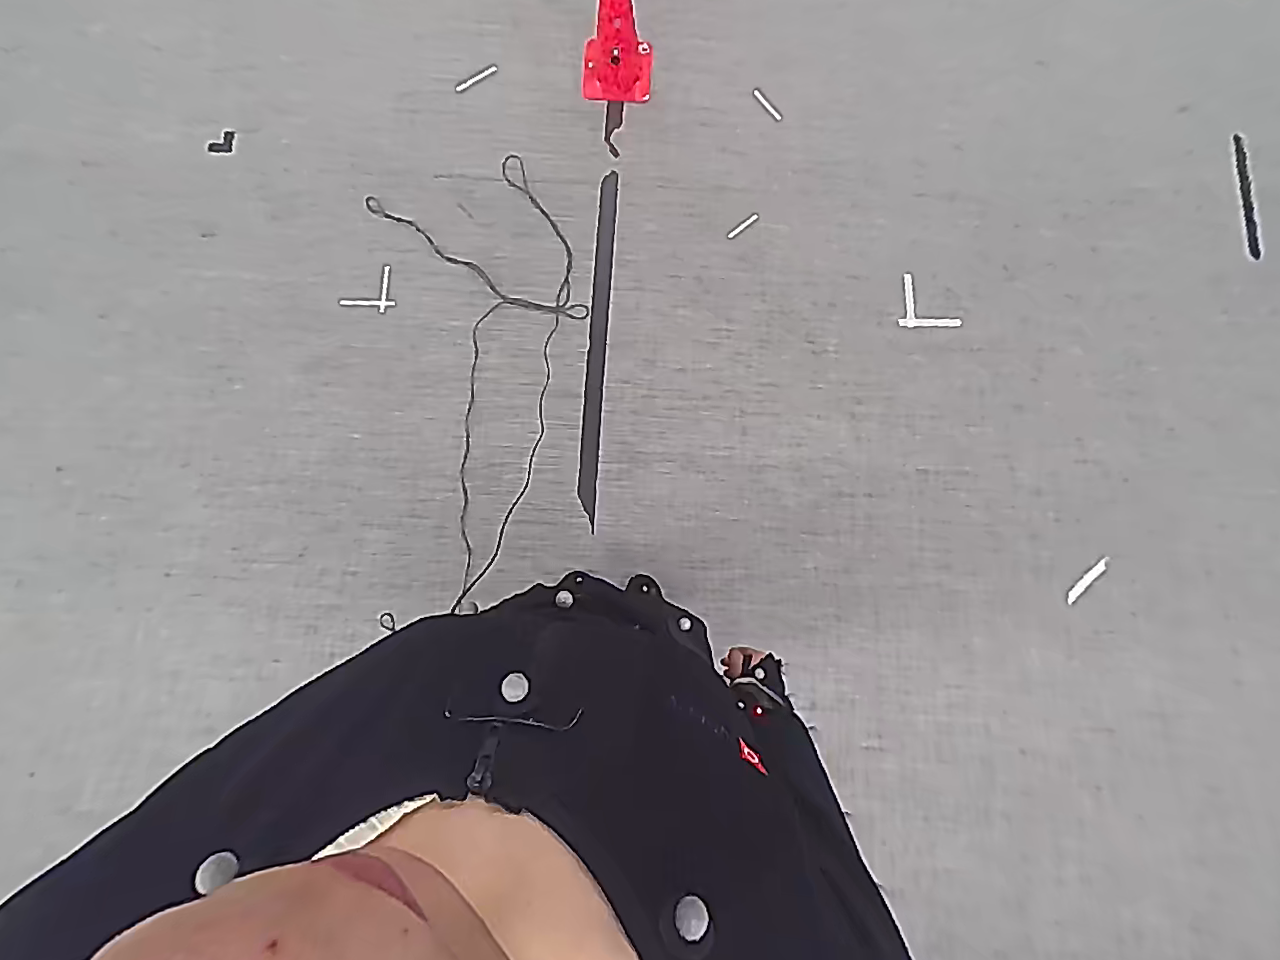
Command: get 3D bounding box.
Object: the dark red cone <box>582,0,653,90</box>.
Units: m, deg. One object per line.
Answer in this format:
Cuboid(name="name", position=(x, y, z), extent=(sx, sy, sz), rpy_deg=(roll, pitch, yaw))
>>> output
Cuboid(name="dark red cone", position=(-0.066, -1.241, 1.396), extent=(0.201, 0.394, 0.202), rpy_deg=(2, 82, 1))
